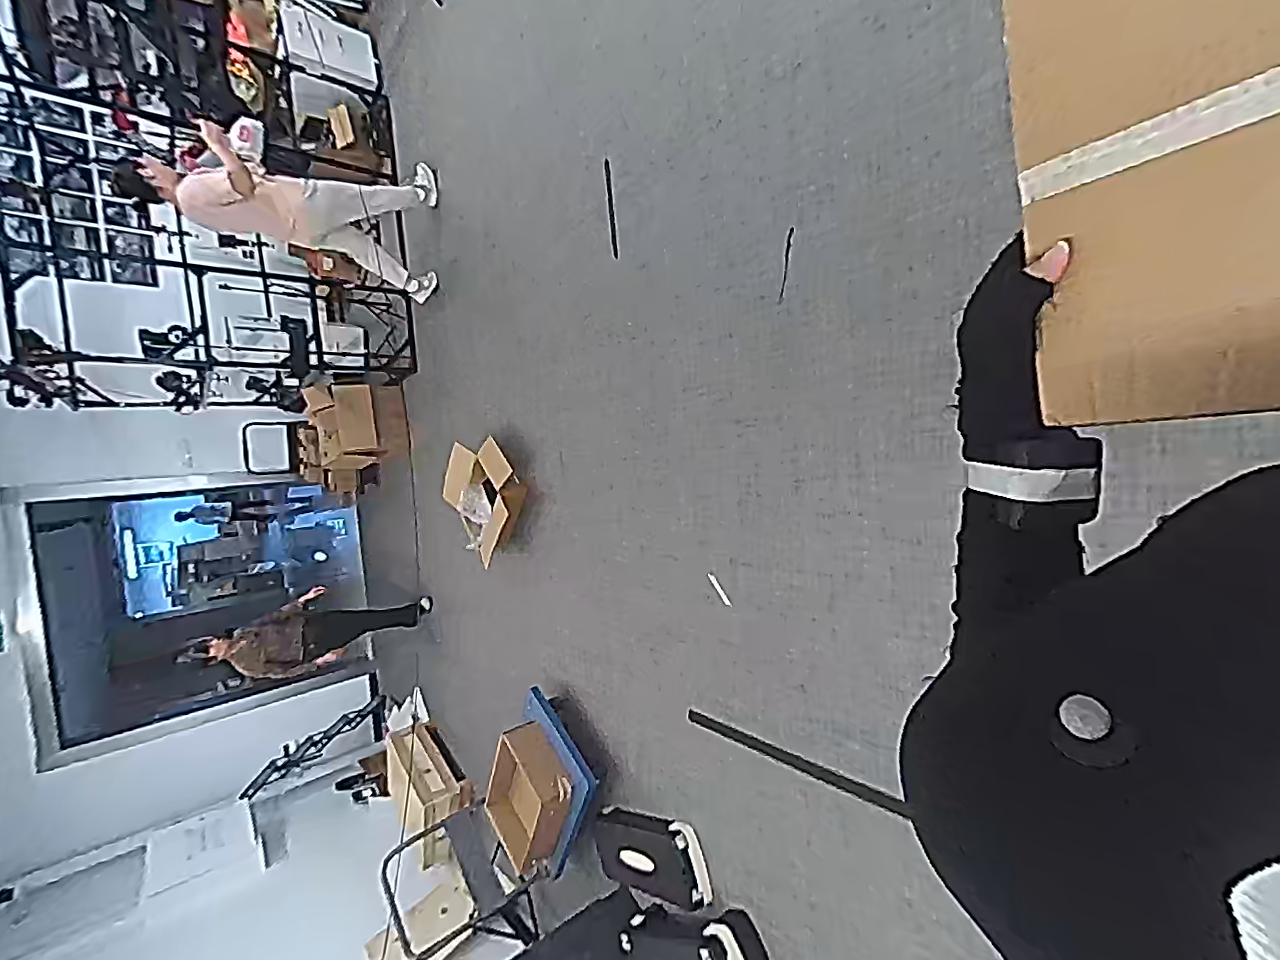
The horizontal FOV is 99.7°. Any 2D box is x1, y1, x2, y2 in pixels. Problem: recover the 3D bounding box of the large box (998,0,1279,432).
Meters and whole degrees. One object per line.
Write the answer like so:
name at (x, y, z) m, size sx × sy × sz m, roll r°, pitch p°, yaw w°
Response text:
large box at (0.492, -0.217, 0.289) m, size 0.408 × 0.320 × 0.320 m, roll -3°, pitch 96°, yaw 54°
